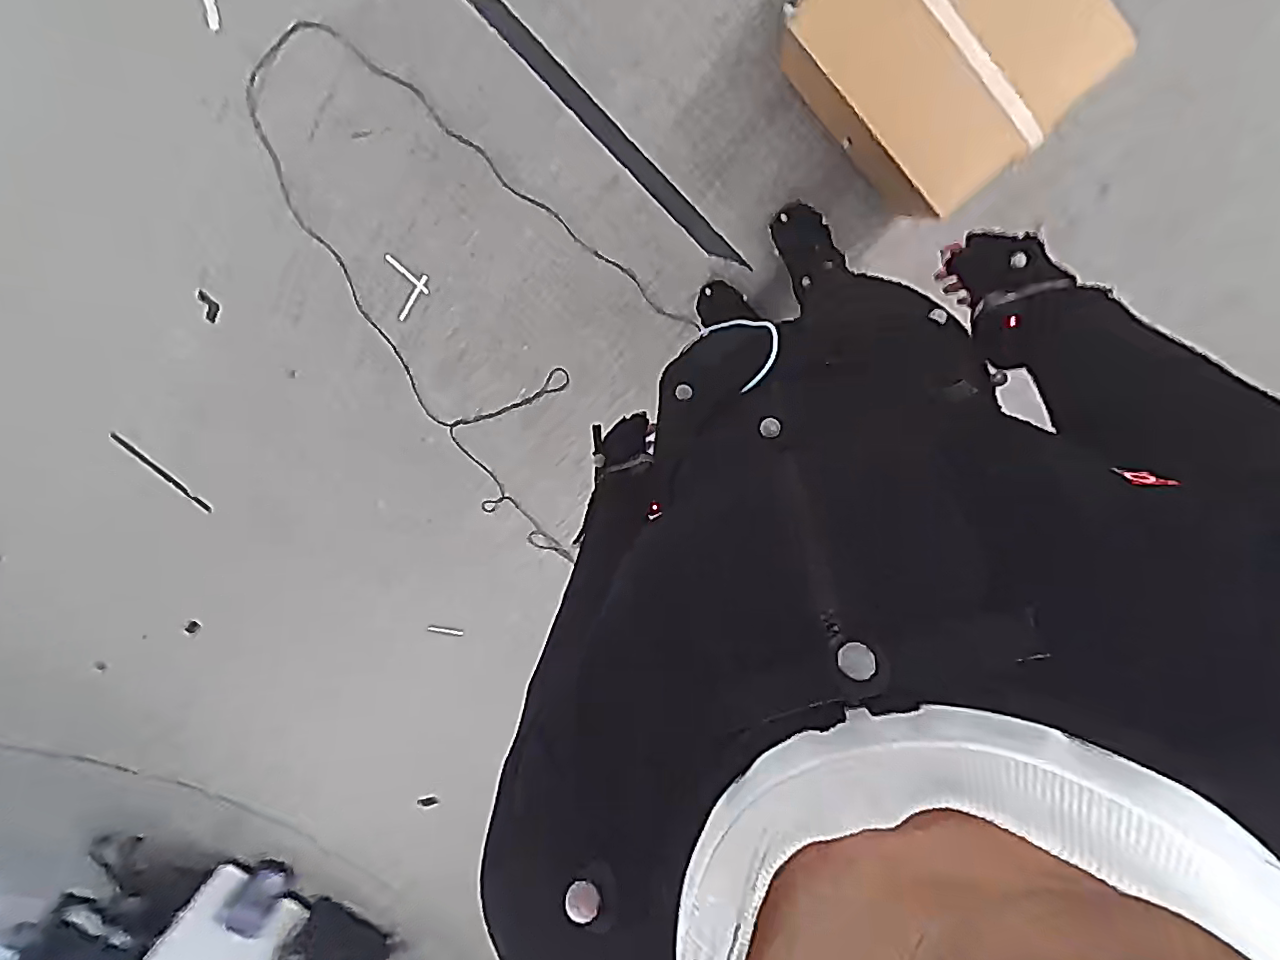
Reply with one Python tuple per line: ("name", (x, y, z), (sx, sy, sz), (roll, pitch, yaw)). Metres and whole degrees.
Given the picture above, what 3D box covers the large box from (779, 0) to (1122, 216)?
("large box", (0.499, -0.739, 0.958), (0.408, 0.320, 0.320), (43, 116, -11))
